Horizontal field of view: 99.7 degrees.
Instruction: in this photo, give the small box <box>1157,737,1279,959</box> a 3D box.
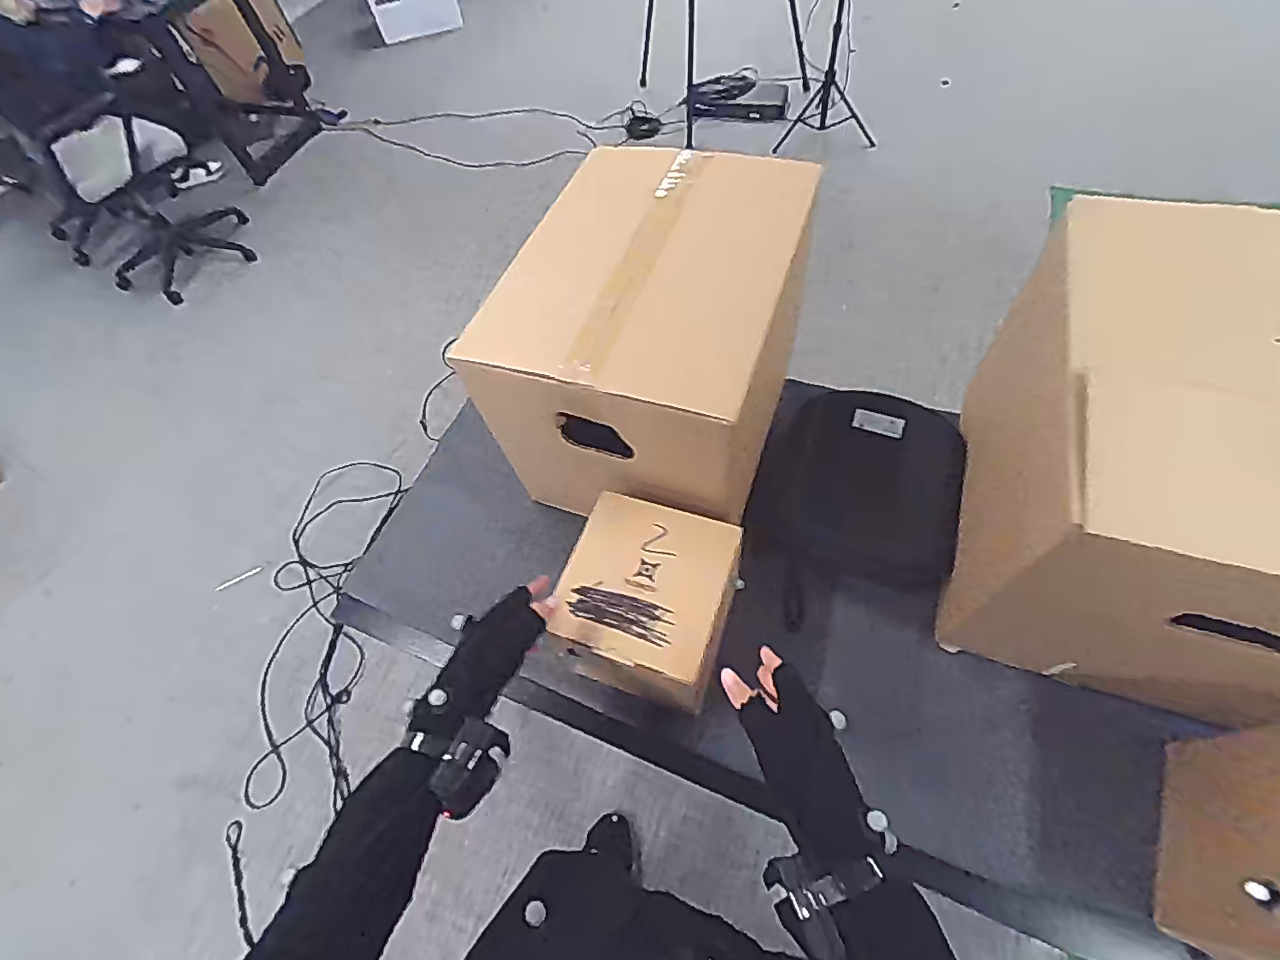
[{"bbox_3d":[0.574,0.326,0.439,0.168,0.176,0.179,20,66,20],"label":"small box"}]
